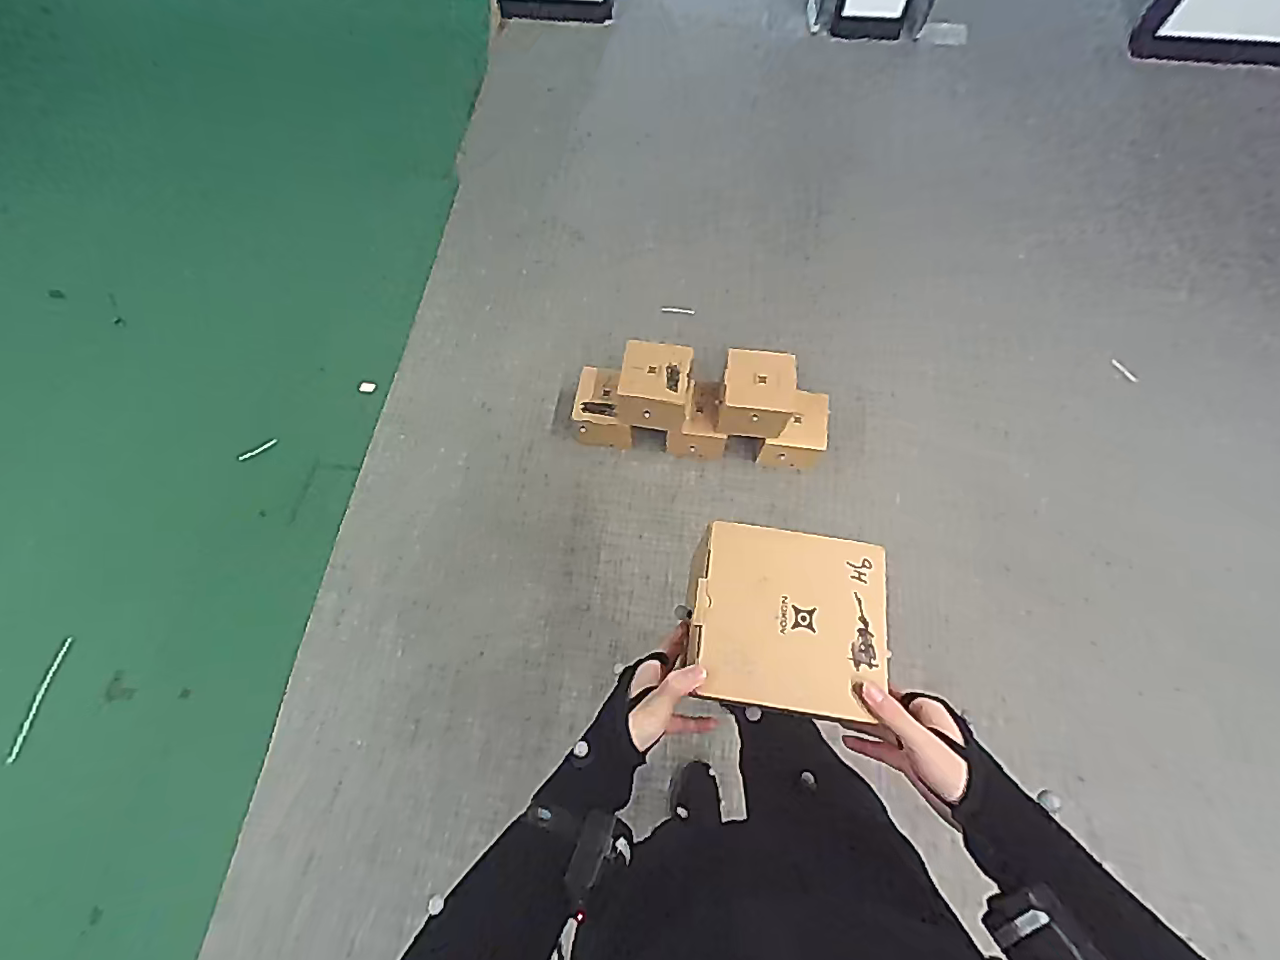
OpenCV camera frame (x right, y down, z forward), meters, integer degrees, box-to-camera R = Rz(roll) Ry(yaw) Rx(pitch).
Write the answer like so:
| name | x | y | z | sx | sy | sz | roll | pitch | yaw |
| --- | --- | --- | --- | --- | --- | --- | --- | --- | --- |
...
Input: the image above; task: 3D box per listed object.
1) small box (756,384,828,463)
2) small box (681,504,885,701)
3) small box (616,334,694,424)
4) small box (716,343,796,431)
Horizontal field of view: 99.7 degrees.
| name | x | y | z | sx | sy | sz | roll | pitch | yaw |
| --- | --- | --- | --- | --- | --- | --- | --- | --- | --- |
| small box | 0.436 | -0.162 | 1.565 | 0.168 | 0.176 | 0.179 | 7 | 71 | 4 |
| small box | 0.143 | 0.140 | 0.585 | 0.179 | 0.176 | 0.168 | 9 | 68 | 2 |
| small box | 0.041 | -0.261 | 1.433 | 0.179 | 0.176 | 0.168 | 9 | 71 | 5 |
| small box | 0.300 | -0.239 | 1.421 | 0.179 | 0.176 | 0.168 | 6 | 71 | 1 |
